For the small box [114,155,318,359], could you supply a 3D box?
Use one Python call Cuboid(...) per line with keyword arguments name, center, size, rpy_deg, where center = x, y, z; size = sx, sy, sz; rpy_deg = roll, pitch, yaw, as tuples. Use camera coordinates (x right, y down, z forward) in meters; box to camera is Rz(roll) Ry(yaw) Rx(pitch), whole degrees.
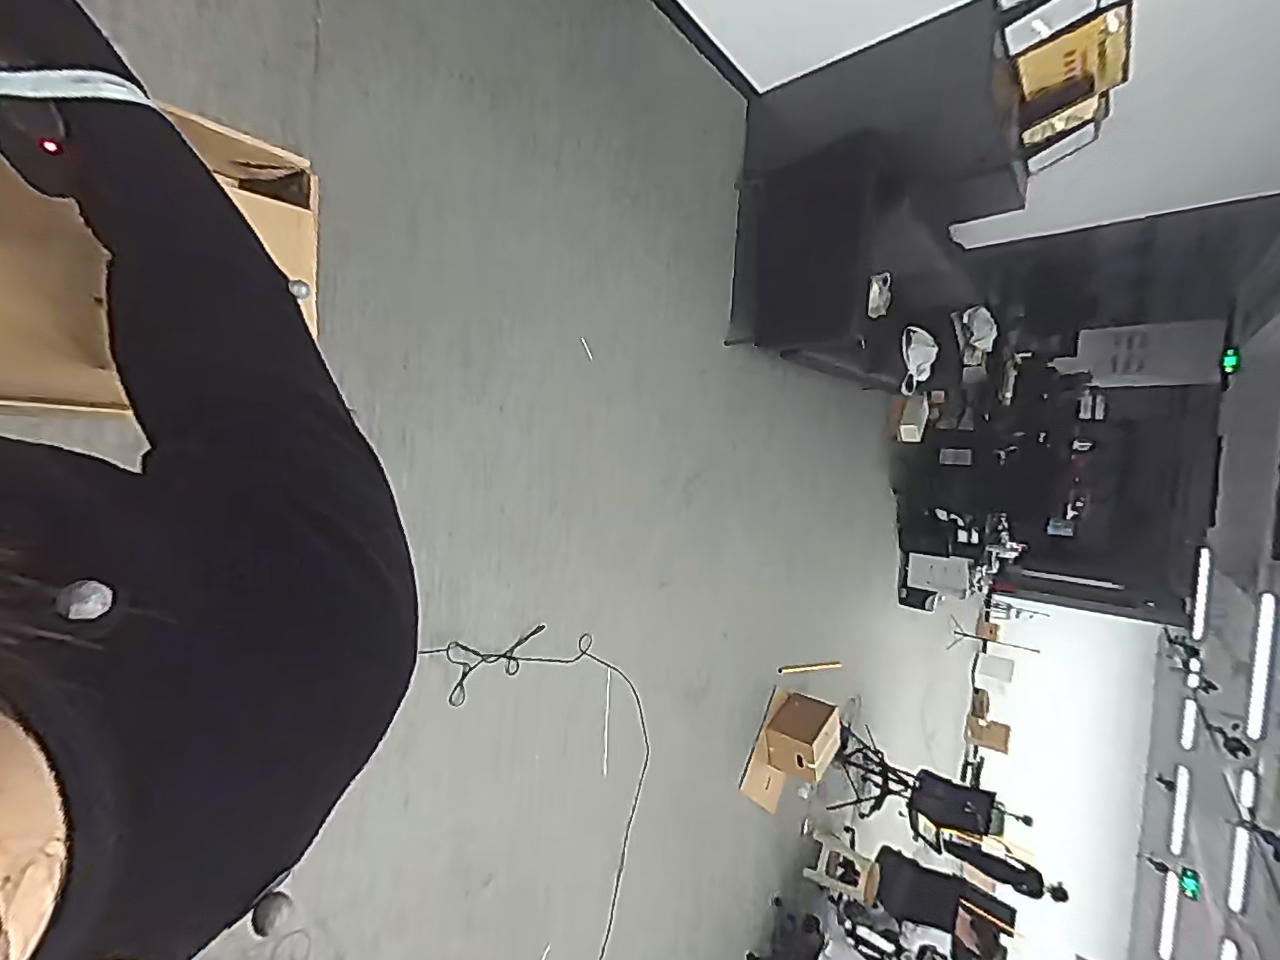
Cuboid(name="small box", center=(-0.506, -0.243, 0.648), size=(0.168, 0.176, 0.179), rpy_deg=(-4, 98, -49))
